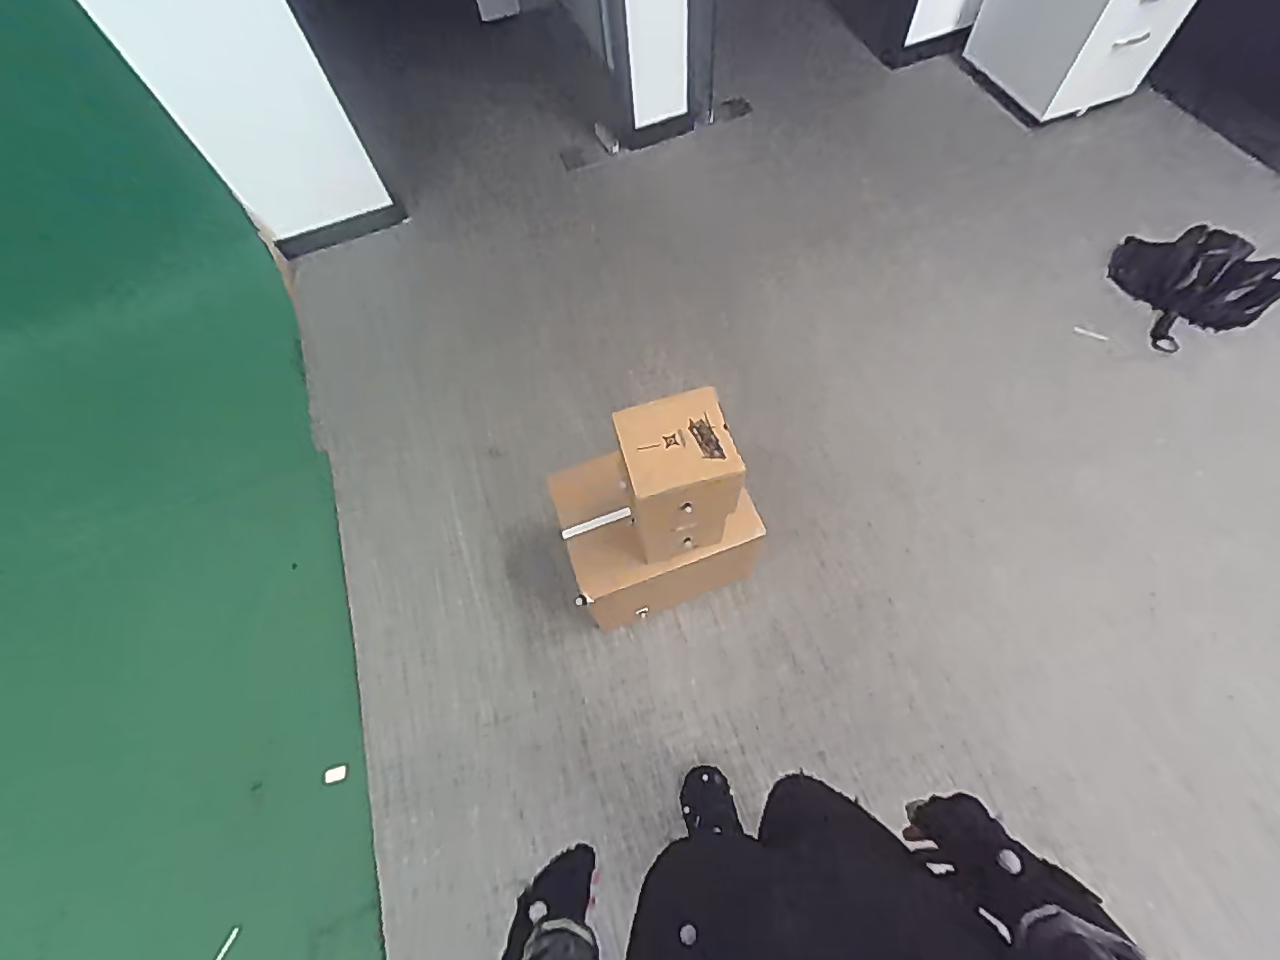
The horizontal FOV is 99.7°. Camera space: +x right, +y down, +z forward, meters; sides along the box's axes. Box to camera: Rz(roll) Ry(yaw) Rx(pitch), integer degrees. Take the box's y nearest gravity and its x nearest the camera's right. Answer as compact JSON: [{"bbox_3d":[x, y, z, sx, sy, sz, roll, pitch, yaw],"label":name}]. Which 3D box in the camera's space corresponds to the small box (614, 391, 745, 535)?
[{"bbox_3d":[0.064,-0.023,0.925,0.179,0.176,0.168,-15,65,-2],"label":"small box"}]

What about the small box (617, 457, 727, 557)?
[{"bbox_3d":[0.063,0.042,1.077,0.168,0.176,0.179,-18,65,-4],"label":"small box"}]
